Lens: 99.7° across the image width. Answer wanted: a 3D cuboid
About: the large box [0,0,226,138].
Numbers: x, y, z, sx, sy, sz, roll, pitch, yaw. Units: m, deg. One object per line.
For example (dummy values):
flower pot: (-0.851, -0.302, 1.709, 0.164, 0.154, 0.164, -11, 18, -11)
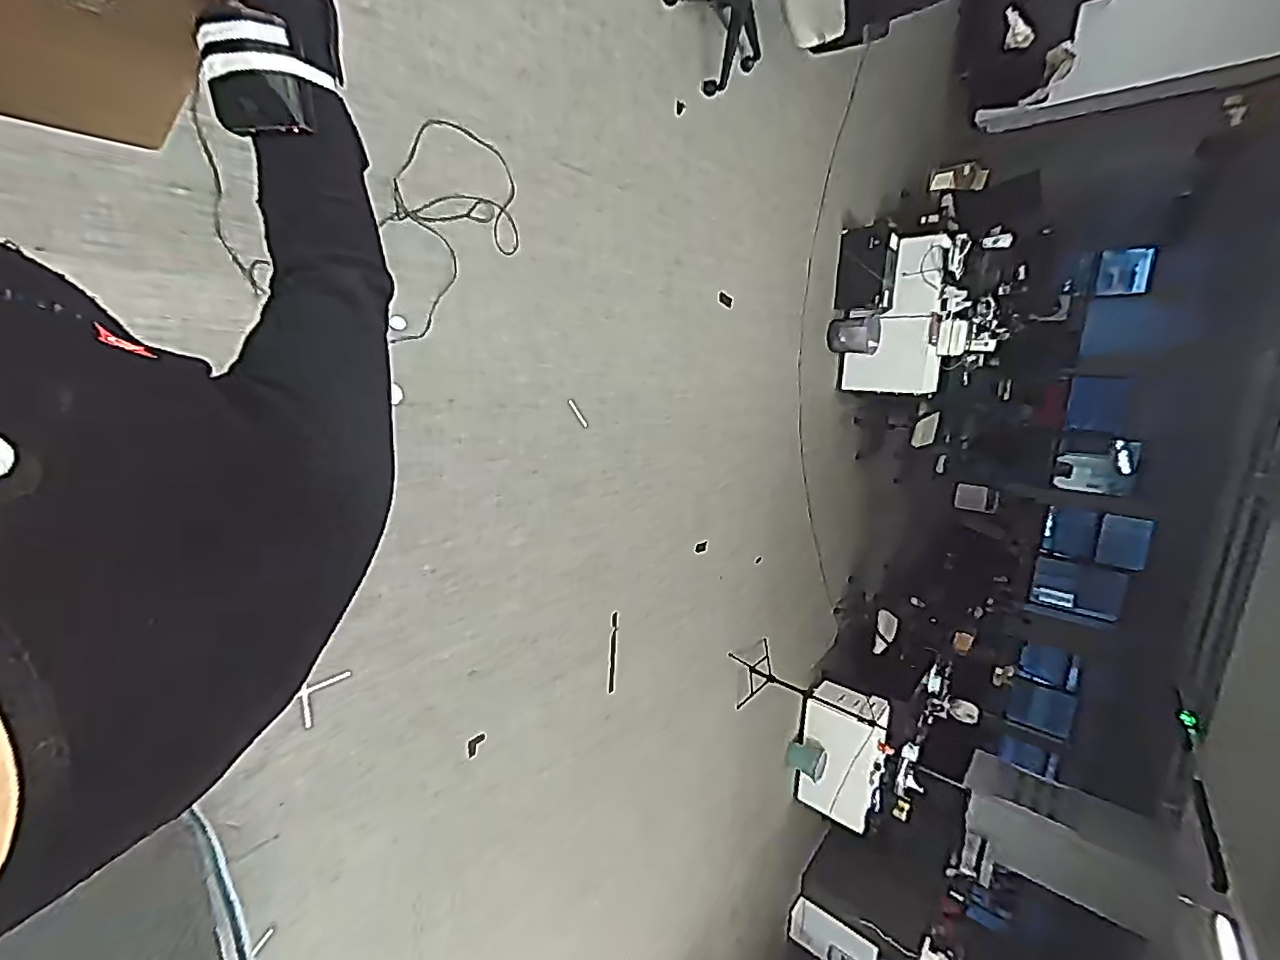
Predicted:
large box: (-0.504, -0.440, 0.269, 0.408, 0.320, 0.320, -13, 105, -48)
